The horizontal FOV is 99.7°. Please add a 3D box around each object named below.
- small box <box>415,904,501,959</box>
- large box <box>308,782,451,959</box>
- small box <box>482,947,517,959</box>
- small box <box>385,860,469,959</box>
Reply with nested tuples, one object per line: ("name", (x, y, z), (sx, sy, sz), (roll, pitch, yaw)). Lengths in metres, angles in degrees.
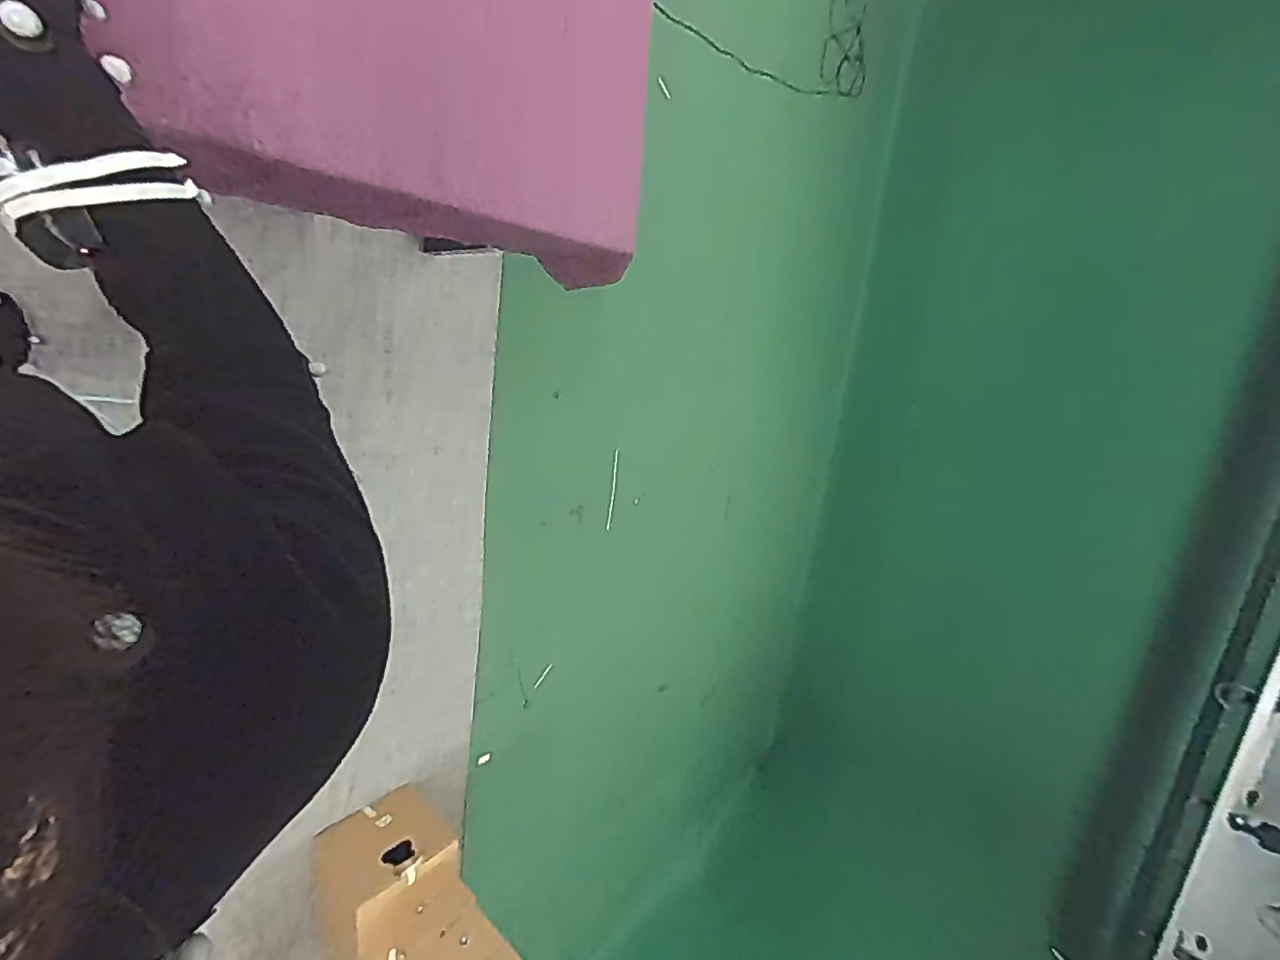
("small box", (-0.500, 1.321, 1.482), (0.168, 0.176, 0.179), (-17, 118, -48))
("large box", (-0.830, 1.287, 1.727), (0.320, 0.320, 0.408), (-10, 112, -50))
("small box", (-0.375, 1.359, 1.382), (0.168, 0.176, 0.179), (-14, 114, -49))
("small box", (-0.624, 1.275, 1.578), (0.179, 0.176, 0.168), (-12, 113, -51))
